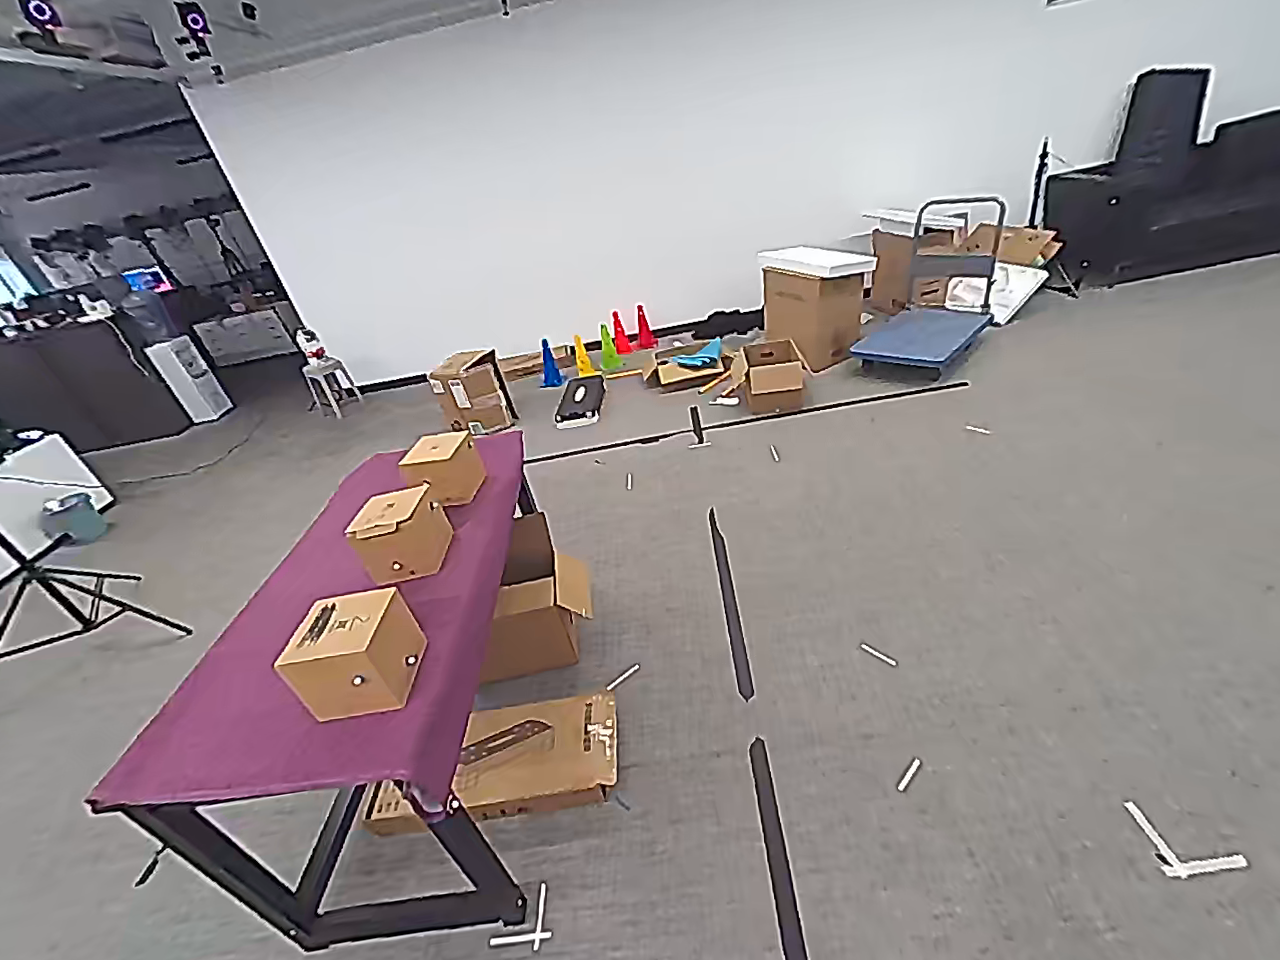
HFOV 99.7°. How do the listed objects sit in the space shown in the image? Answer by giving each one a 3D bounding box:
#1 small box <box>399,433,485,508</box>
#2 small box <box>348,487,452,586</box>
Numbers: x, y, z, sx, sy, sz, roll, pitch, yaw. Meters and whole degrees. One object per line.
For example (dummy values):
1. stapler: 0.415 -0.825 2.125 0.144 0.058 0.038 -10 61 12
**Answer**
1. small box: -0.601 -0.023 1.671 0.168 0.176 0.179 -7 32 9
2. small box: -0.610 0.147 1.401 0.168 0.176 0.179 -13 31 4
